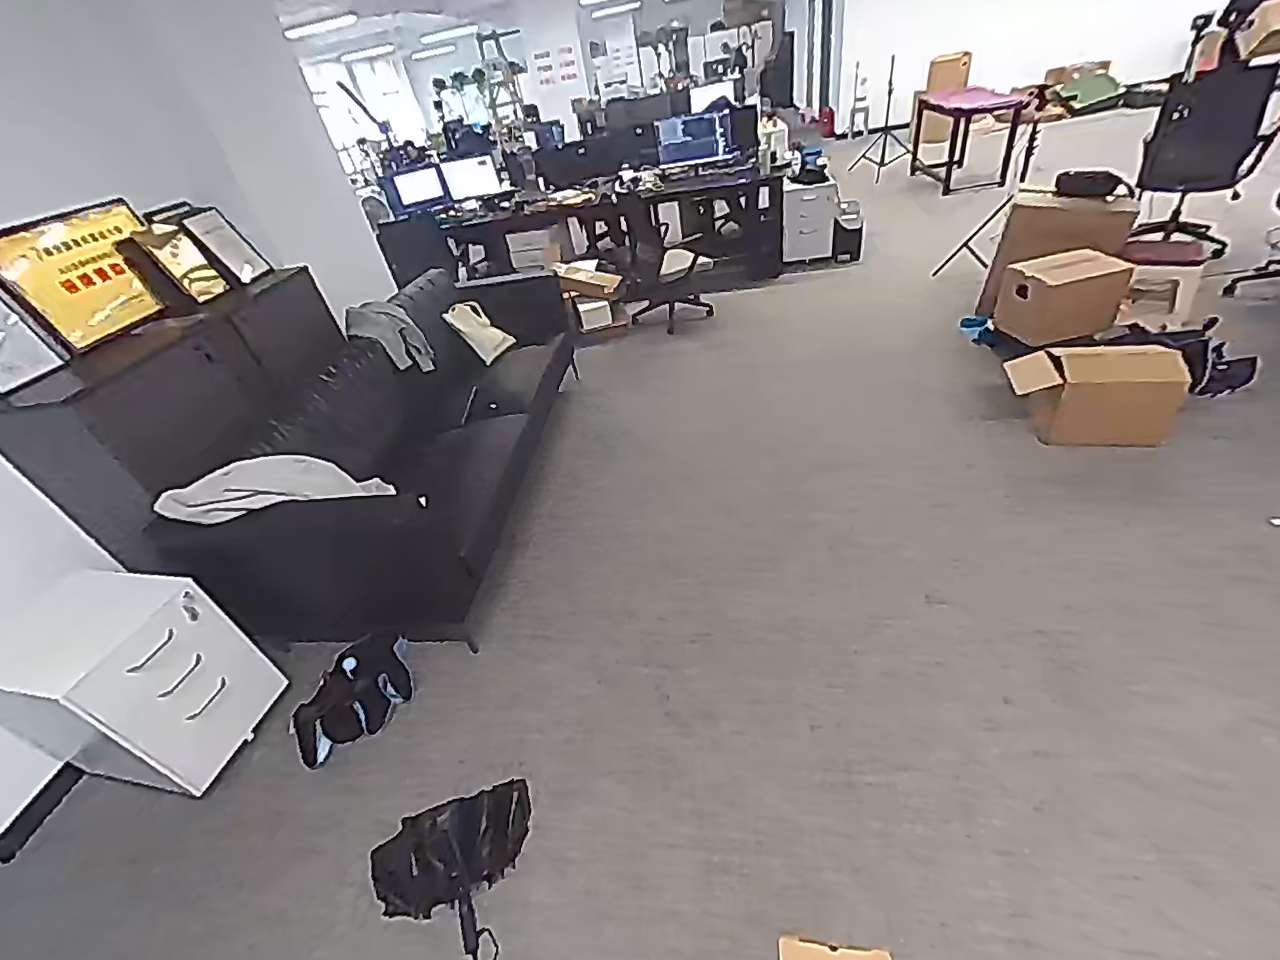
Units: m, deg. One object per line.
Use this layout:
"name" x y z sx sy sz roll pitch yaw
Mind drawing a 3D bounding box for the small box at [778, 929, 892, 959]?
"small box" 0.301 0.827 0.826 0.168 0.176 0.179 -2 40 11
